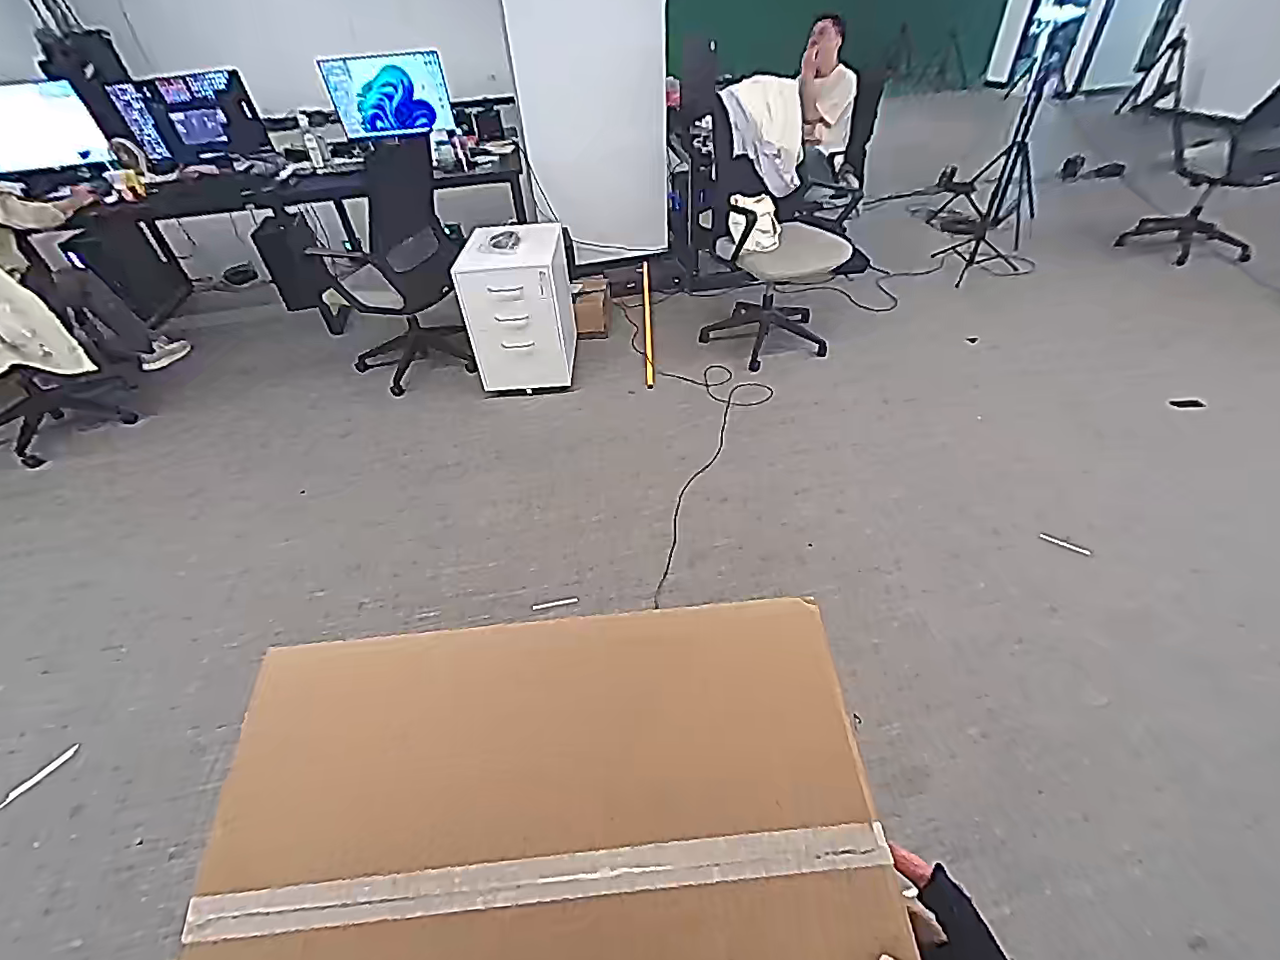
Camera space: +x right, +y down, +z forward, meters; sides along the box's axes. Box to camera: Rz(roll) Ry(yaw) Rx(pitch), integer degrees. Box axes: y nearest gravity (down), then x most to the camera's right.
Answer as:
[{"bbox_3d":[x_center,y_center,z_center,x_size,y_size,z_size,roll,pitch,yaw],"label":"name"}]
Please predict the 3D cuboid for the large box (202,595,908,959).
[{"bbox_3d":[-0.050,0.317,0.450,0.408,0.320,0.320,-5,57,-1],"label":"large box"}]
